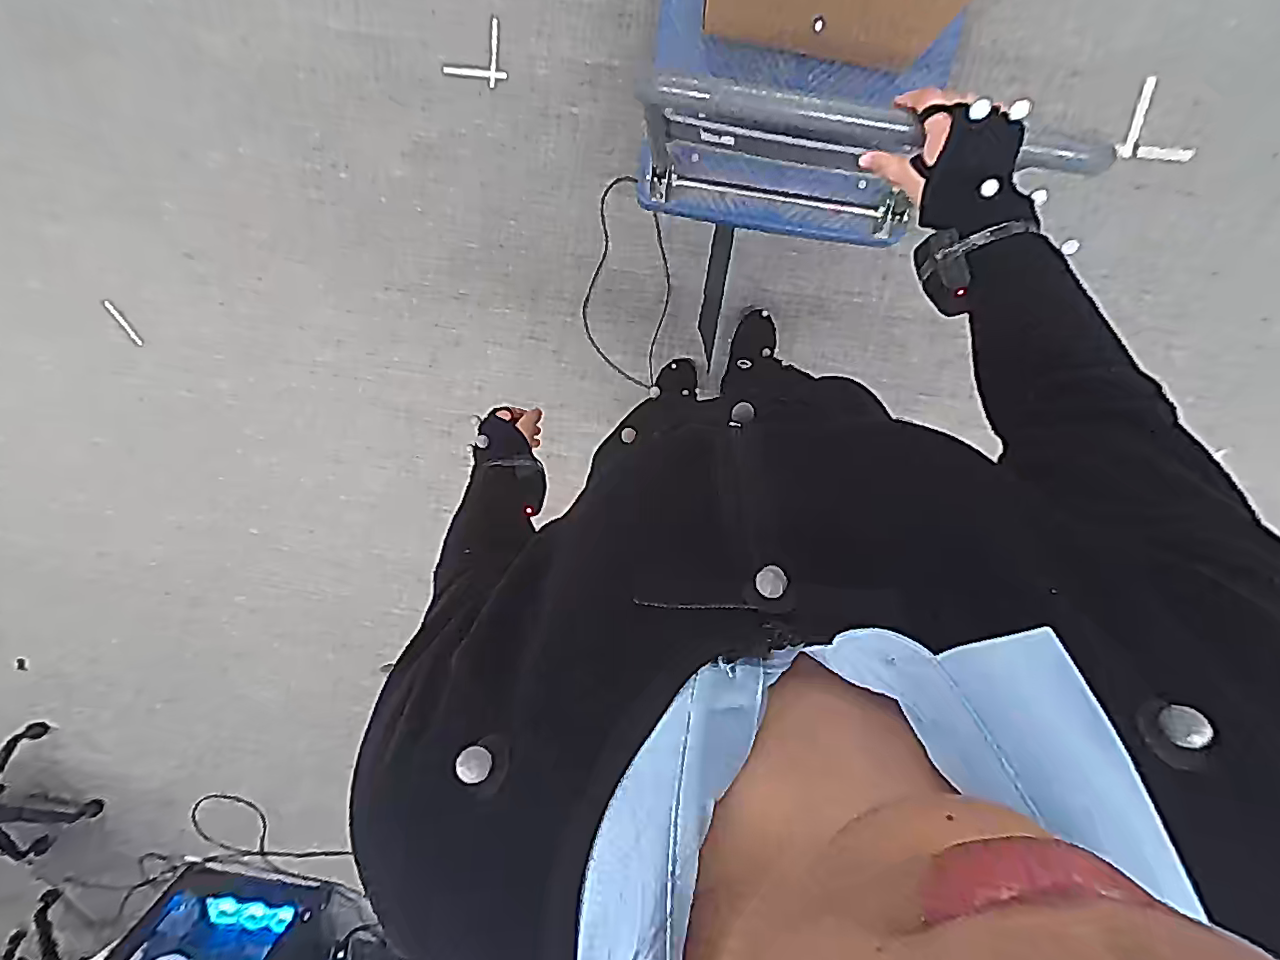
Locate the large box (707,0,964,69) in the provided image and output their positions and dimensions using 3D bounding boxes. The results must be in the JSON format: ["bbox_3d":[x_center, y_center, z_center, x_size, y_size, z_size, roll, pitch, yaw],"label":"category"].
[{"bbox_3d":[0.342,-0.945,0.893,0.408,0.320,0.320,12,106,2],"label":"large box"}]
